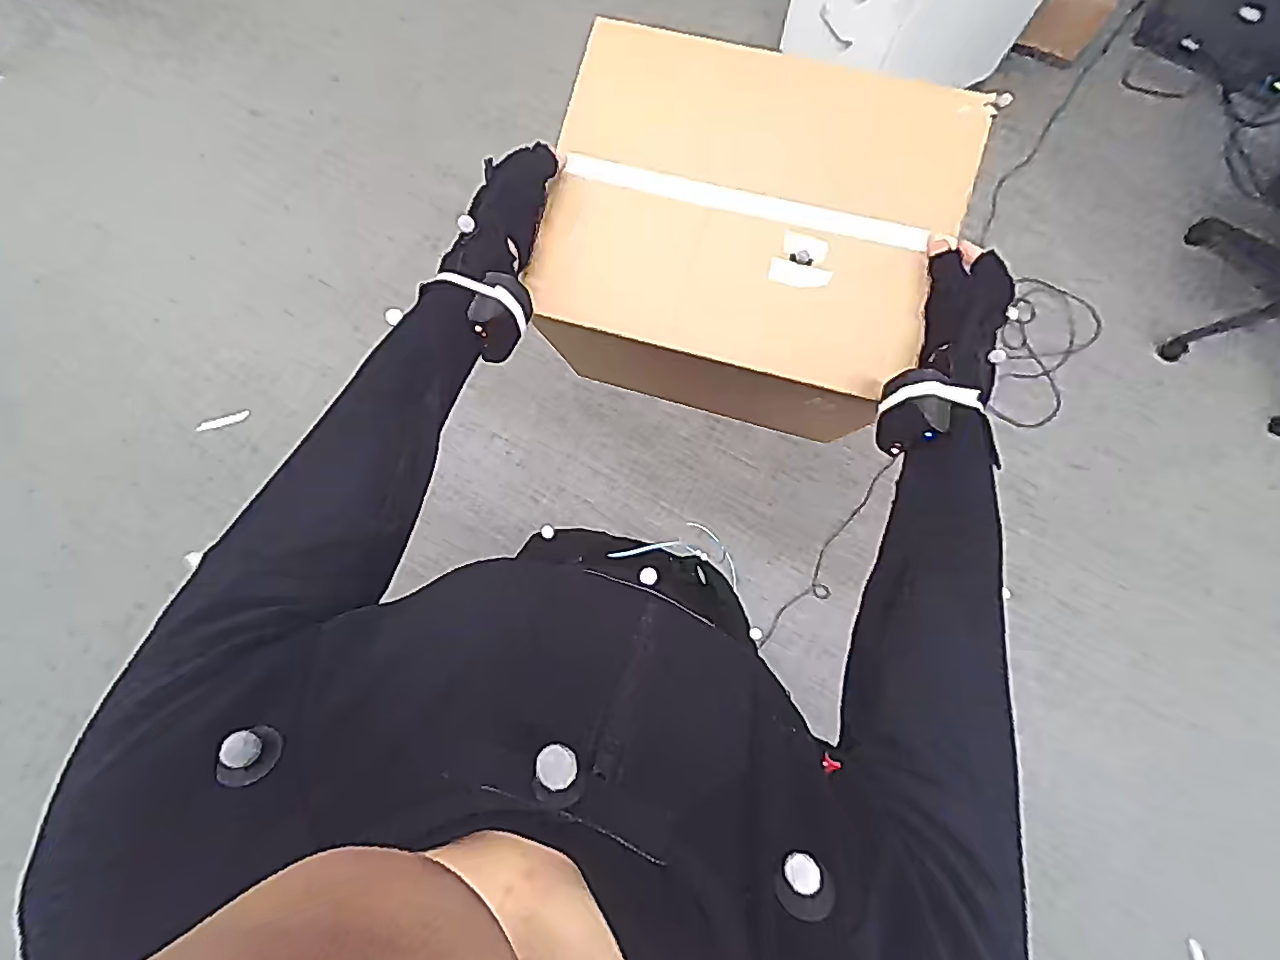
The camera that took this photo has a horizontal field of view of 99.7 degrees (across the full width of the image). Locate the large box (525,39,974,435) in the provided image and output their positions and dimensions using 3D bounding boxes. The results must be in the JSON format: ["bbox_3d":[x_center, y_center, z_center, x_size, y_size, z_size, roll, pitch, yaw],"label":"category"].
[{"bbox_3d":[0.116,-0.268,0.698,0.408,0.320,0.320,15,90,5],"label":"large box"}]
